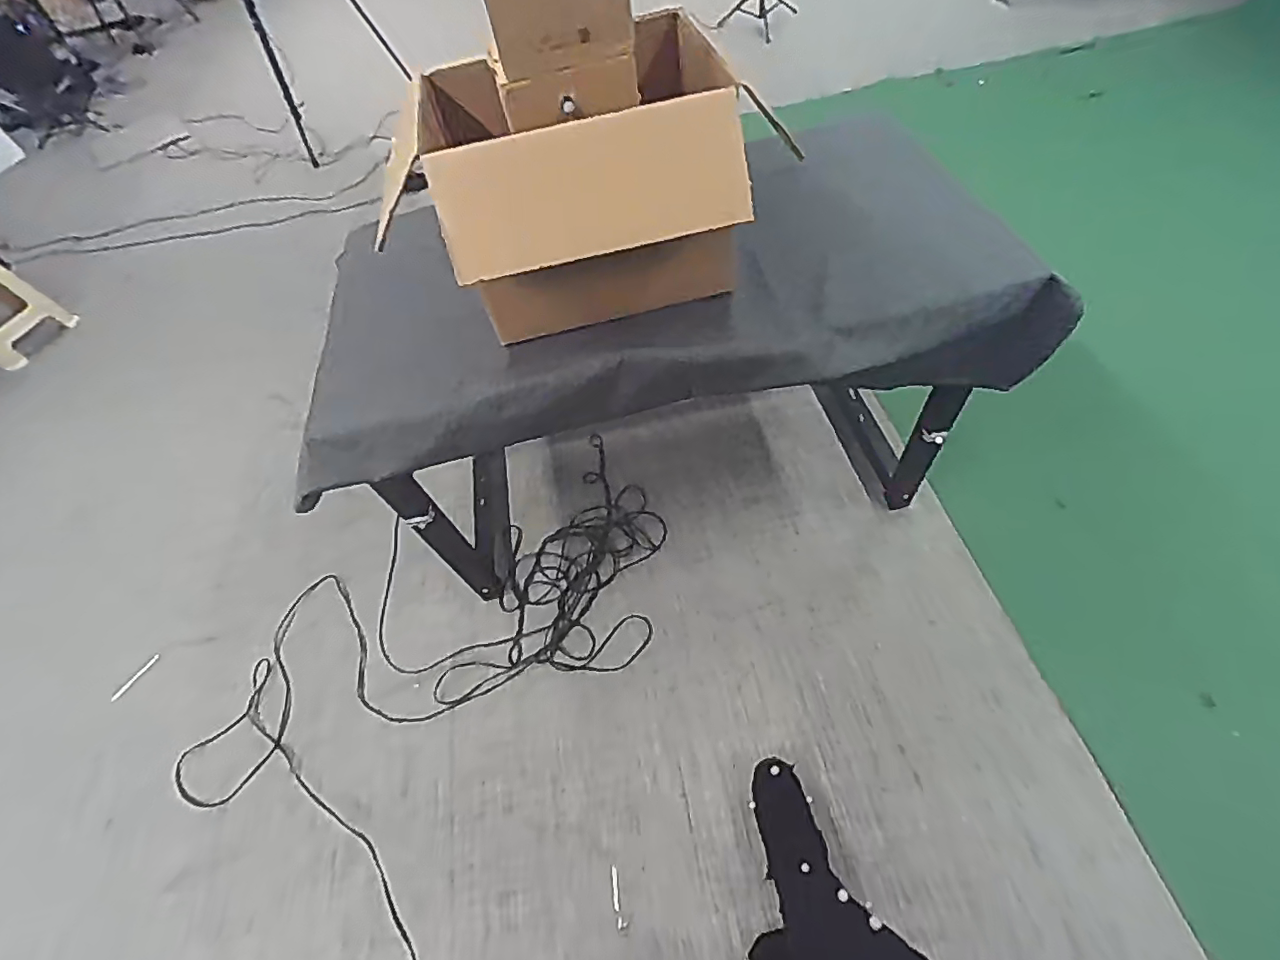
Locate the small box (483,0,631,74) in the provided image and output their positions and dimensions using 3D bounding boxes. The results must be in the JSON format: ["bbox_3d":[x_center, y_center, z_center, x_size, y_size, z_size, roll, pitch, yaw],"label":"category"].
[{"bbox_3d":[-0.114,-0.617,0.647,0.168,0.176,0.179,-16,55,-4],"label":"small box"}]
